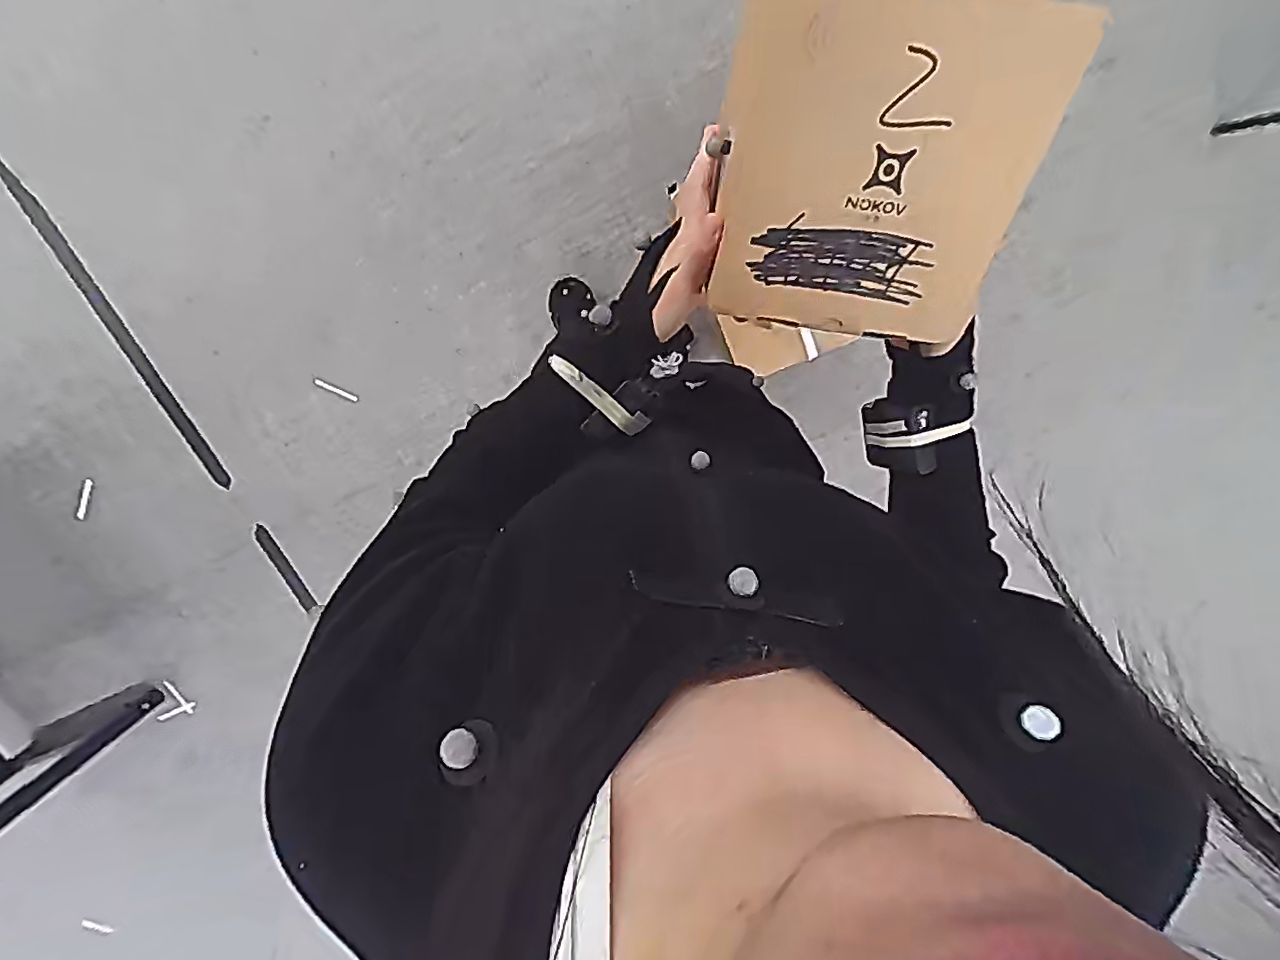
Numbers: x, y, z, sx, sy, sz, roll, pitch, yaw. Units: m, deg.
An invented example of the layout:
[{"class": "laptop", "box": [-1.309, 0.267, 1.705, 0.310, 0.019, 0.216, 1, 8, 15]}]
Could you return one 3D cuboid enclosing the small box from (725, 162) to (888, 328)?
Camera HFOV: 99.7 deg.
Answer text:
[{"class": "small box", "box": [0.245, -0.351, 0.832, 0.179, 0.176, 0.168, -23, 105, 11]}]
